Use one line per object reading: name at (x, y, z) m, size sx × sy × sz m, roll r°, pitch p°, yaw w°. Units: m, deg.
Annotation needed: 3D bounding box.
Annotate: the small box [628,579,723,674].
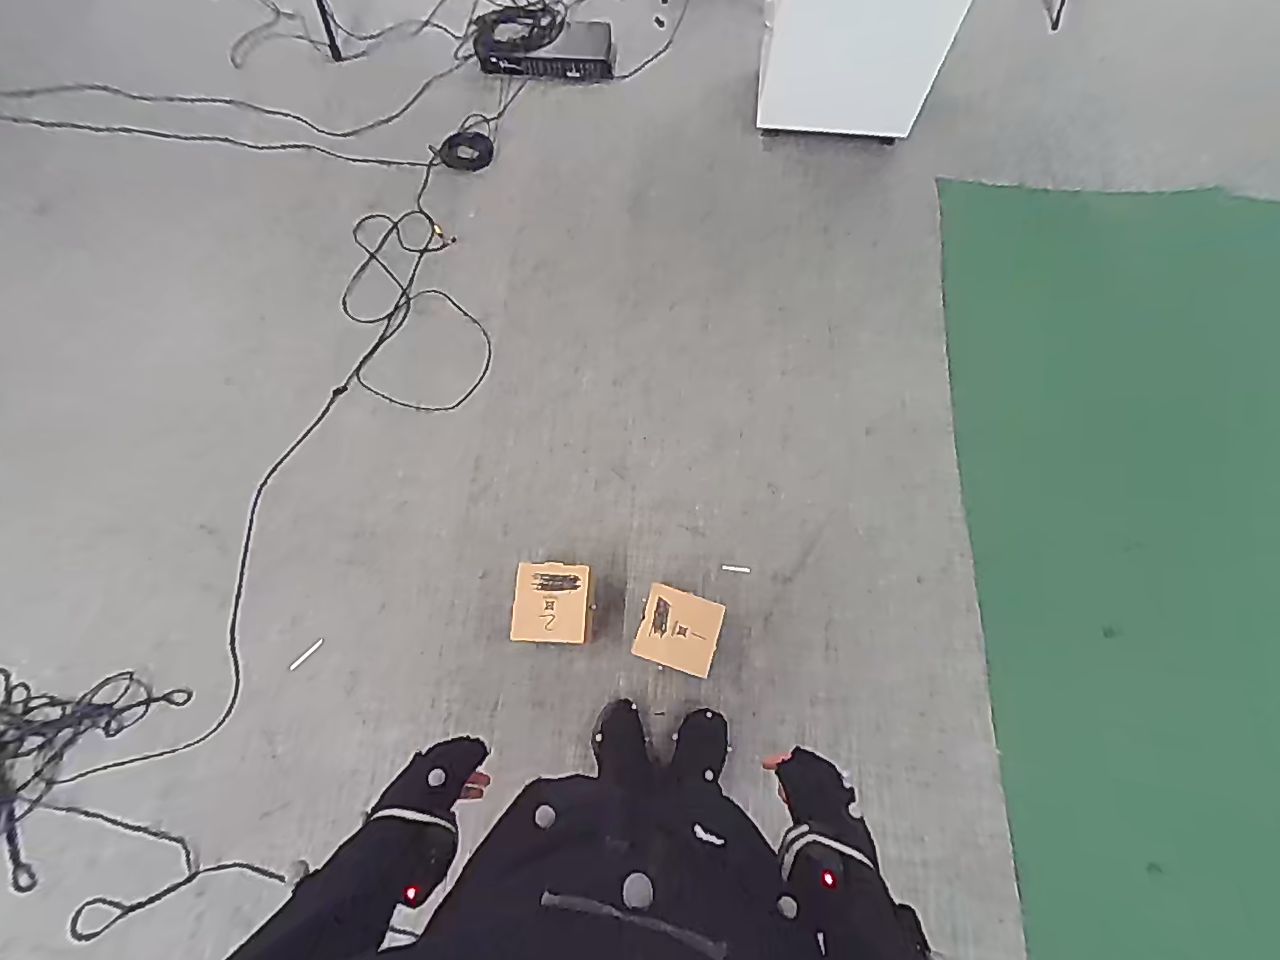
small box at (0.080, 0.349, 1.272) m, size 0.179 × 0.176 × 0.168 m, roll 18°, pitch 72°, yaw 5°
